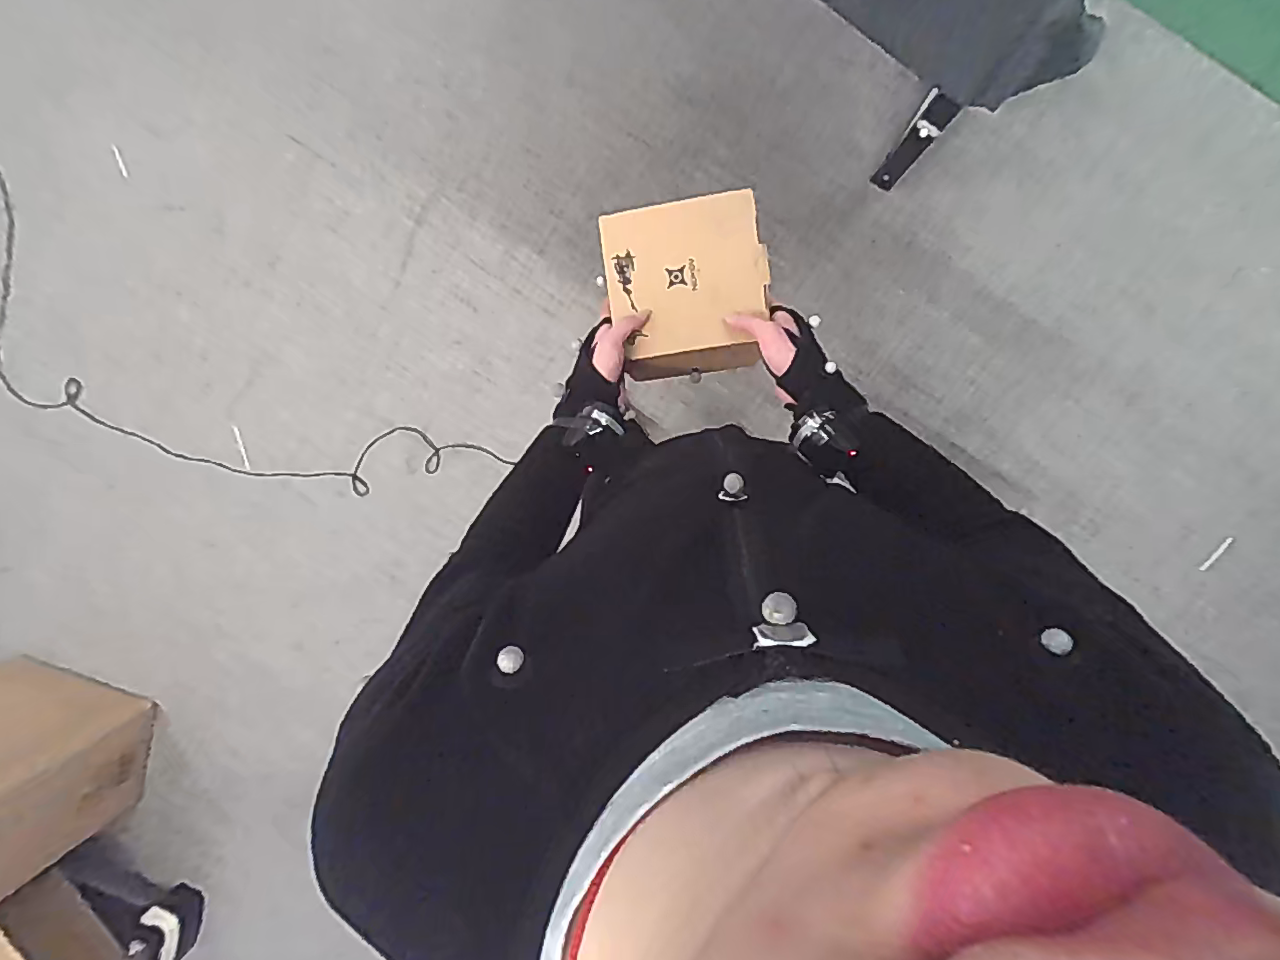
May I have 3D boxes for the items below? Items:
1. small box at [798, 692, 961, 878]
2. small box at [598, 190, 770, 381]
[{"bbox_3d":[0.391,0.509,0.923,0.168,0.176,0.179,36,100,-1],"label":"small box"},{"bbox_3d":[0.053,-0.225,0.670,0.179,0.176,0.168,-7,90,5],"label":"small box"}]
